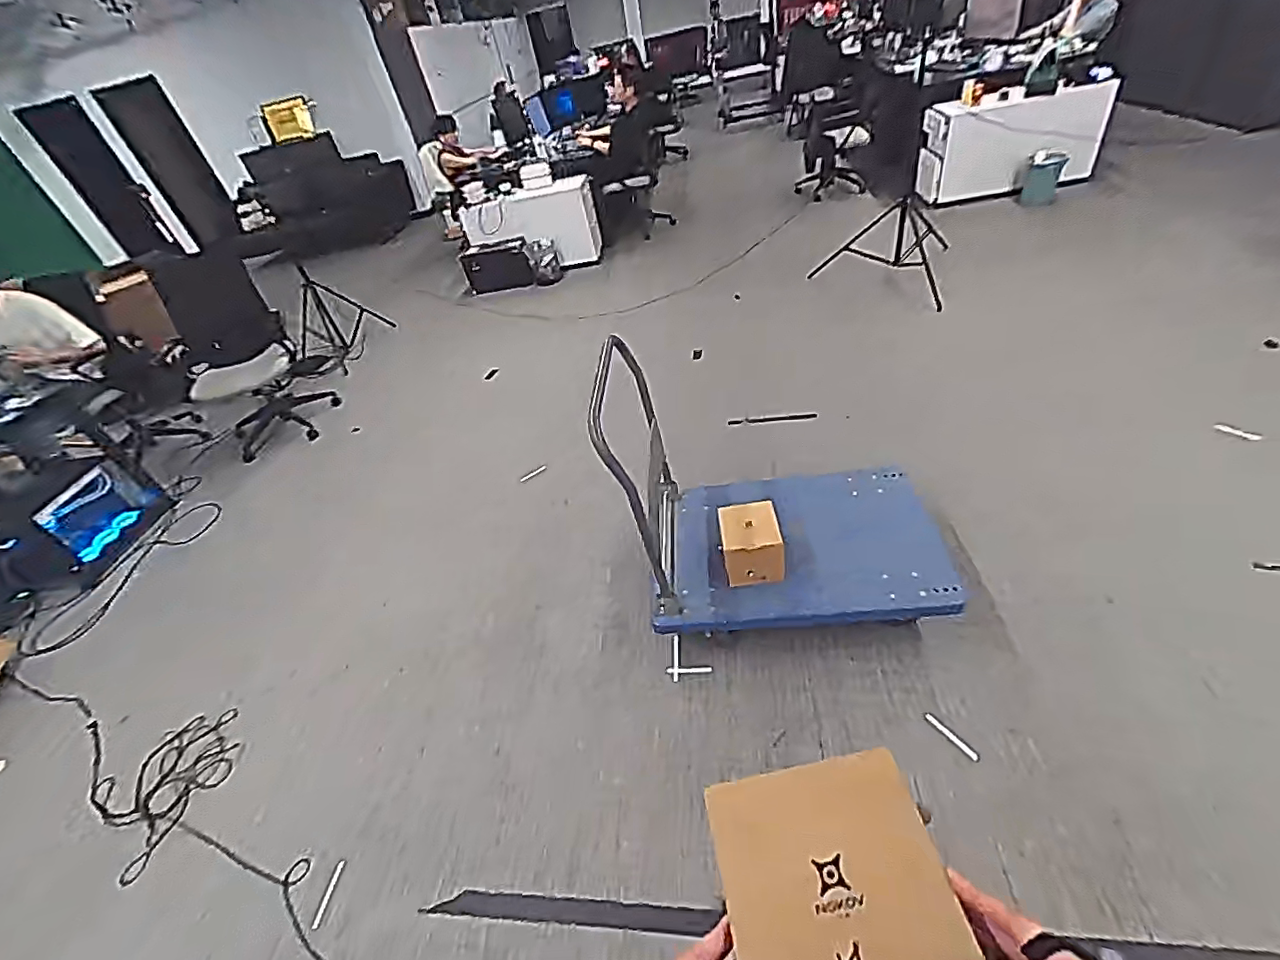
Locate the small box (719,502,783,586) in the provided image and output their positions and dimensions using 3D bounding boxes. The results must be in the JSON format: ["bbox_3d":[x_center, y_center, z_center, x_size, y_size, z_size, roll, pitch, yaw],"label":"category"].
[{"bbox_3d":[0.331,0.192,1.626,0.168,0.176,0.179,-9,41,7],"label":"small box"}]

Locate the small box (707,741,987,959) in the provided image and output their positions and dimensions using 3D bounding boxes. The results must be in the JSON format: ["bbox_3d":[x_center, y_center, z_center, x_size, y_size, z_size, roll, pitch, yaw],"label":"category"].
[{"bbox_3d":[0.163,0.355,0.457,0.168,0.176,0.179,-15,42,5],"label":"small box"}]
